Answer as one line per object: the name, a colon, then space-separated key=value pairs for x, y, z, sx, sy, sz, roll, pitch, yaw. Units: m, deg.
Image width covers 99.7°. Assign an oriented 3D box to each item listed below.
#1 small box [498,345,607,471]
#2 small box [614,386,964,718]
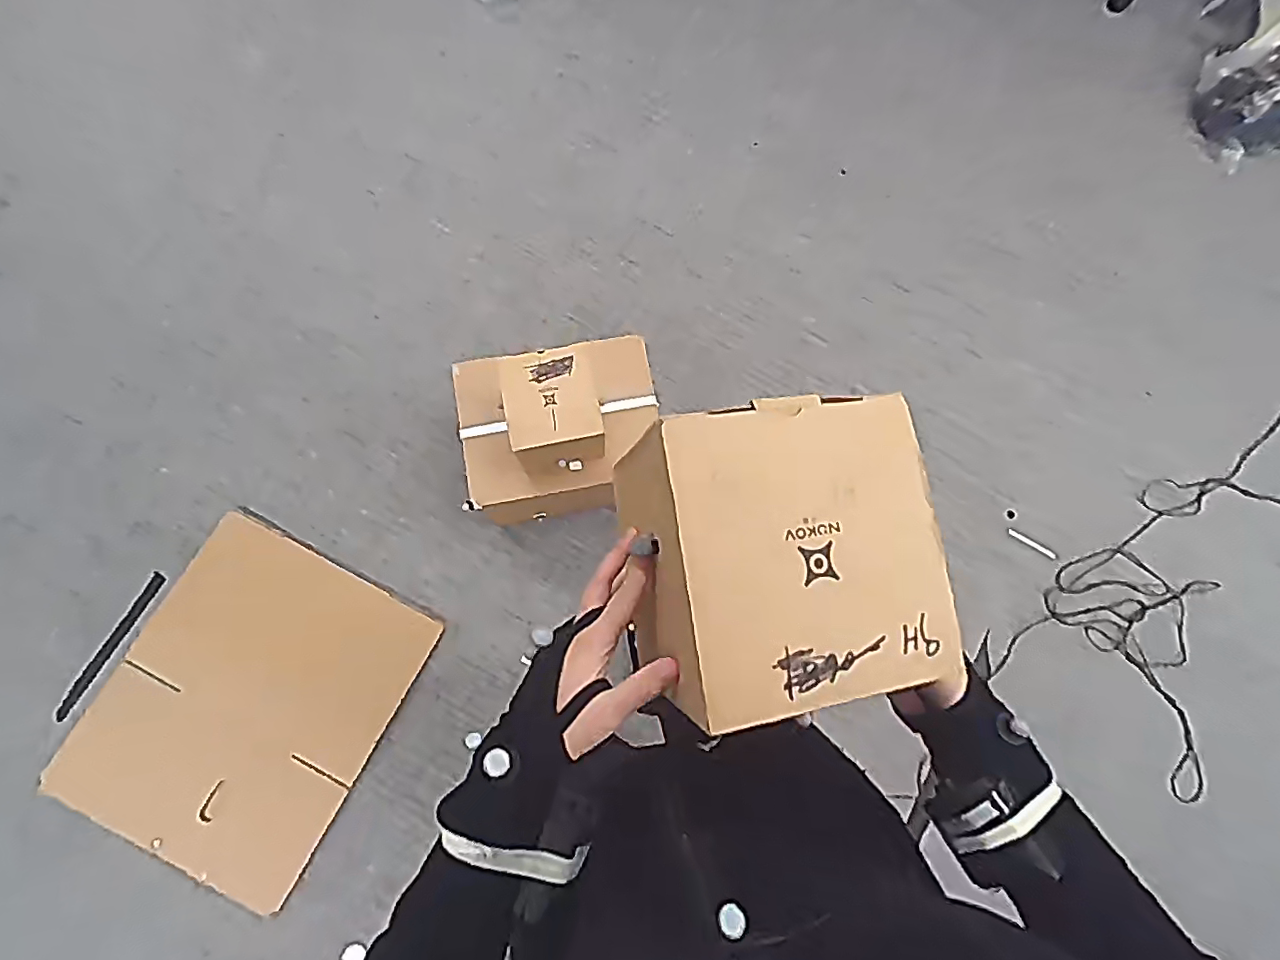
small box: x=-0.160 y=-0.130 z=1.023 sx=0.168 sy=0.176 sz=0.179 roll=-12 pitch=80 yaw=-5
small box: x=0.083 y=0.047 z=0.391 sx=0.168 sy=0.176 sz=0.179 roll=-8 pitch=82 yaw=-14
